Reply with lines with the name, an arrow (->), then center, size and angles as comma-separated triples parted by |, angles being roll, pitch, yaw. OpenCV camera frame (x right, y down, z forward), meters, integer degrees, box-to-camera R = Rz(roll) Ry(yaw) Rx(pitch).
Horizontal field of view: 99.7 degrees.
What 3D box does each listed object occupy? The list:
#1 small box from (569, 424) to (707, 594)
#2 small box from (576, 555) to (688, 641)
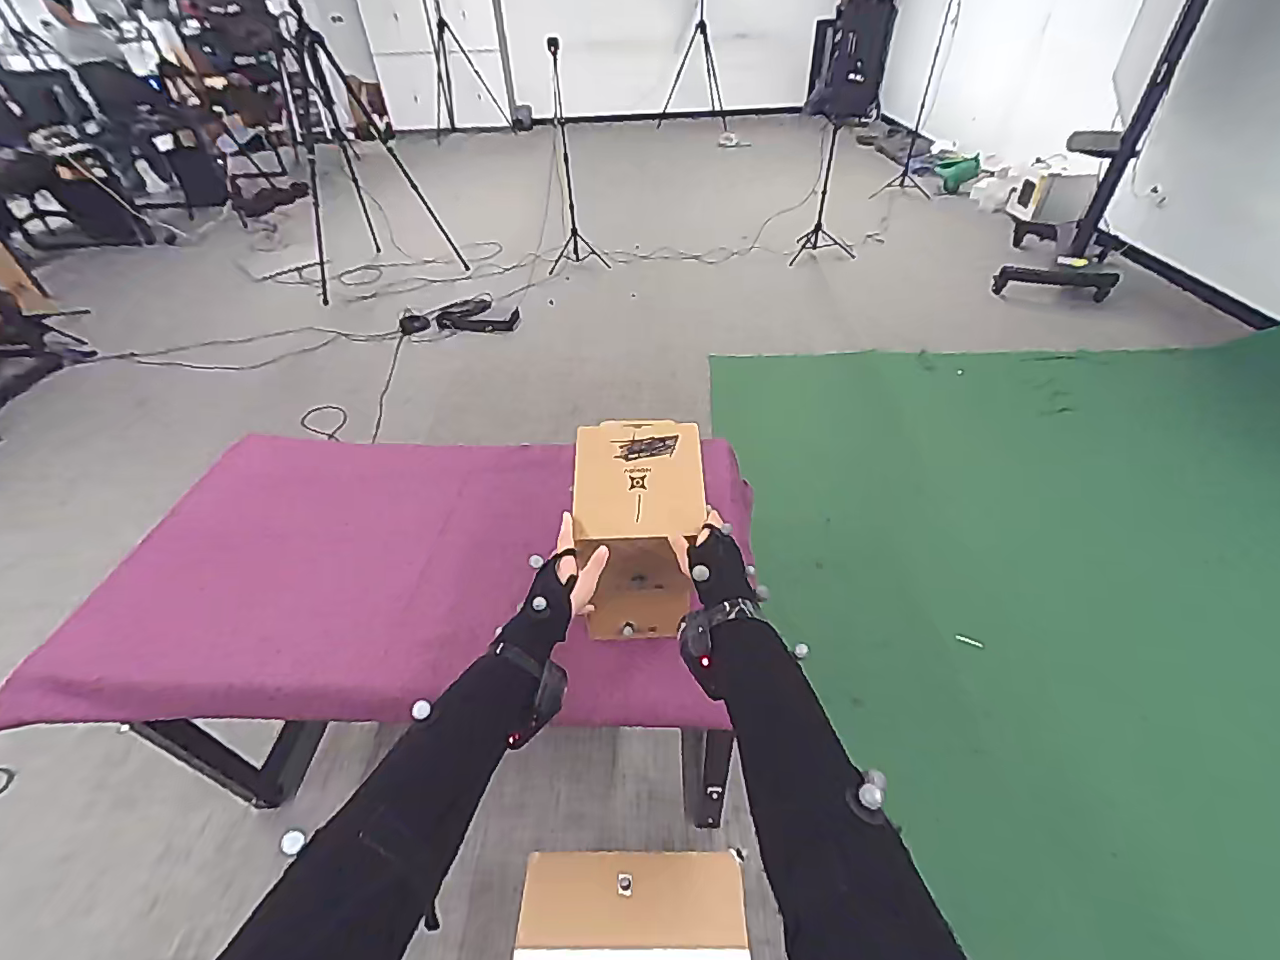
small box -> 0.000, 0.043, 0.747 | 0.168, 0.176, 0.179 | -2, 55, 2
small box -> -0.008, 0.145, 0.894 | 0.168, 0.176, 0.179 | -4, 43, 2
